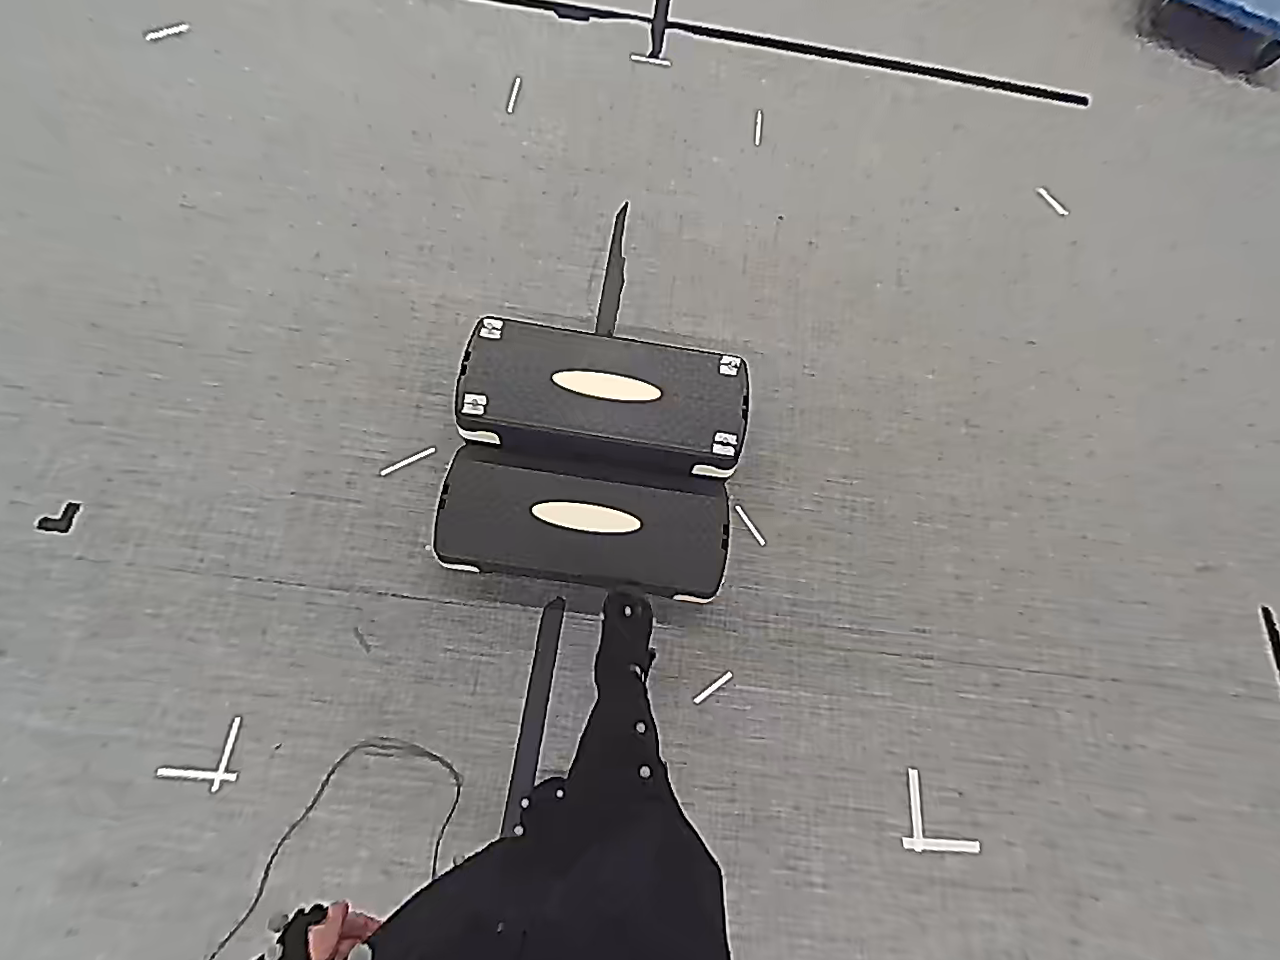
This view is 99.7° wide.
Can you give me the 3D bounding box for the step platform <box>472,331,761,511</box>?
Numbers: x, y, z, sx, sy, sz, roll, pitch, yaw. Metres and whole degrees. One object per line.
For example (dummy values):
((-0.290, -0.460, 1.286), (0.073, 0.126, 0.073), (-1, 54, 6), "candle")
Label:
((-0.053, -0.141, 1.329), (0.684, 0.204, 0.286), (13, 69, -2), "step platform")
